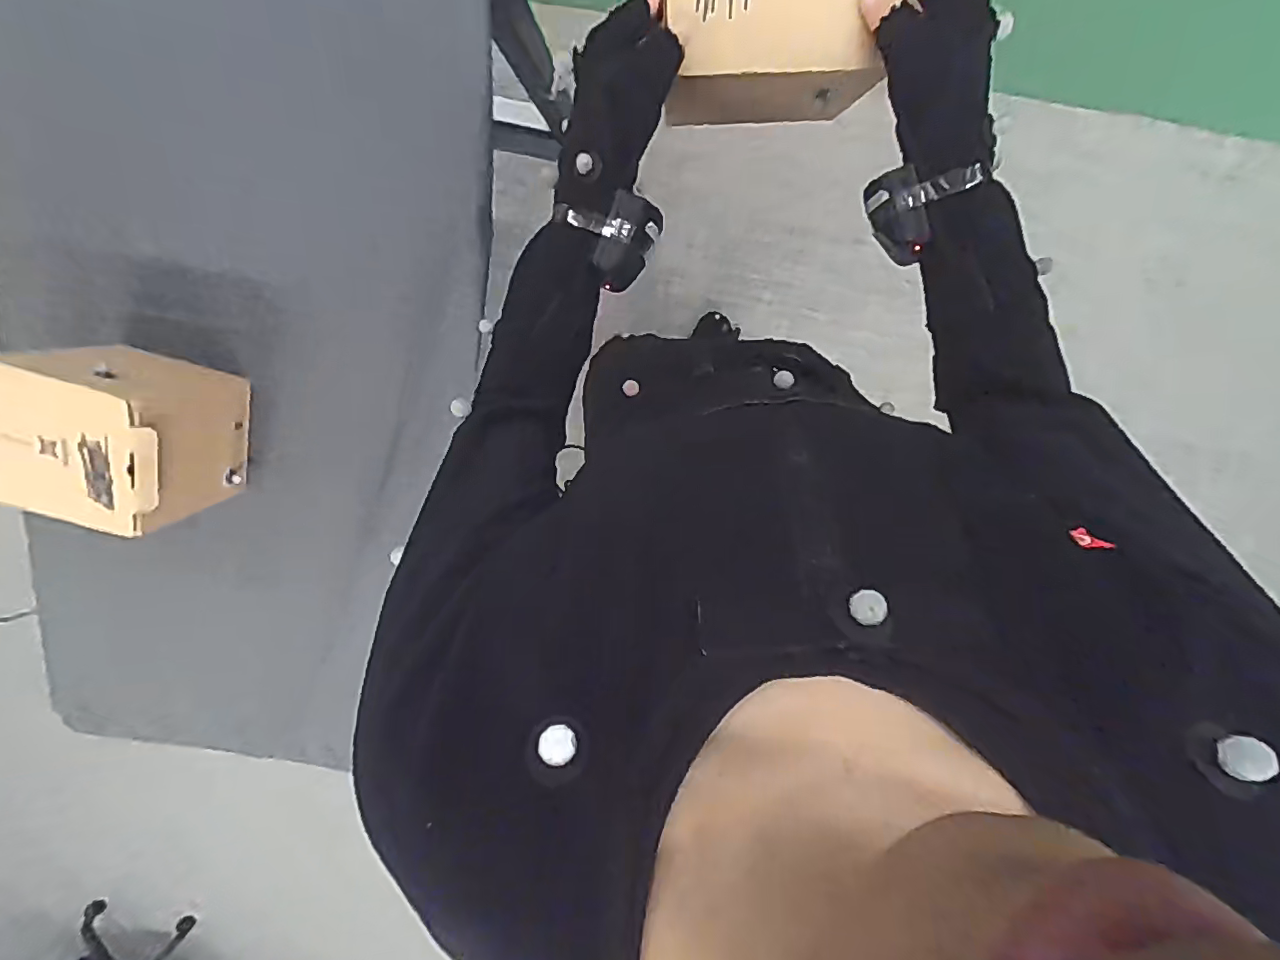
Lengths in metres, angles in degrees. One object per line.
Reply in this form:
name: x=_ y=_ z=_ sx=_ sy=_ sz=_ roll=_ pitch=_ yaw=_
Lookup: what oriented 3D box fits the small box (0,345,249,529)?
small box: x=-0.624 y=-0.063 z=0.665 sx=0.179 sy=0.176 sz=0.168 roll=15 pitch=108 yaw=-1
